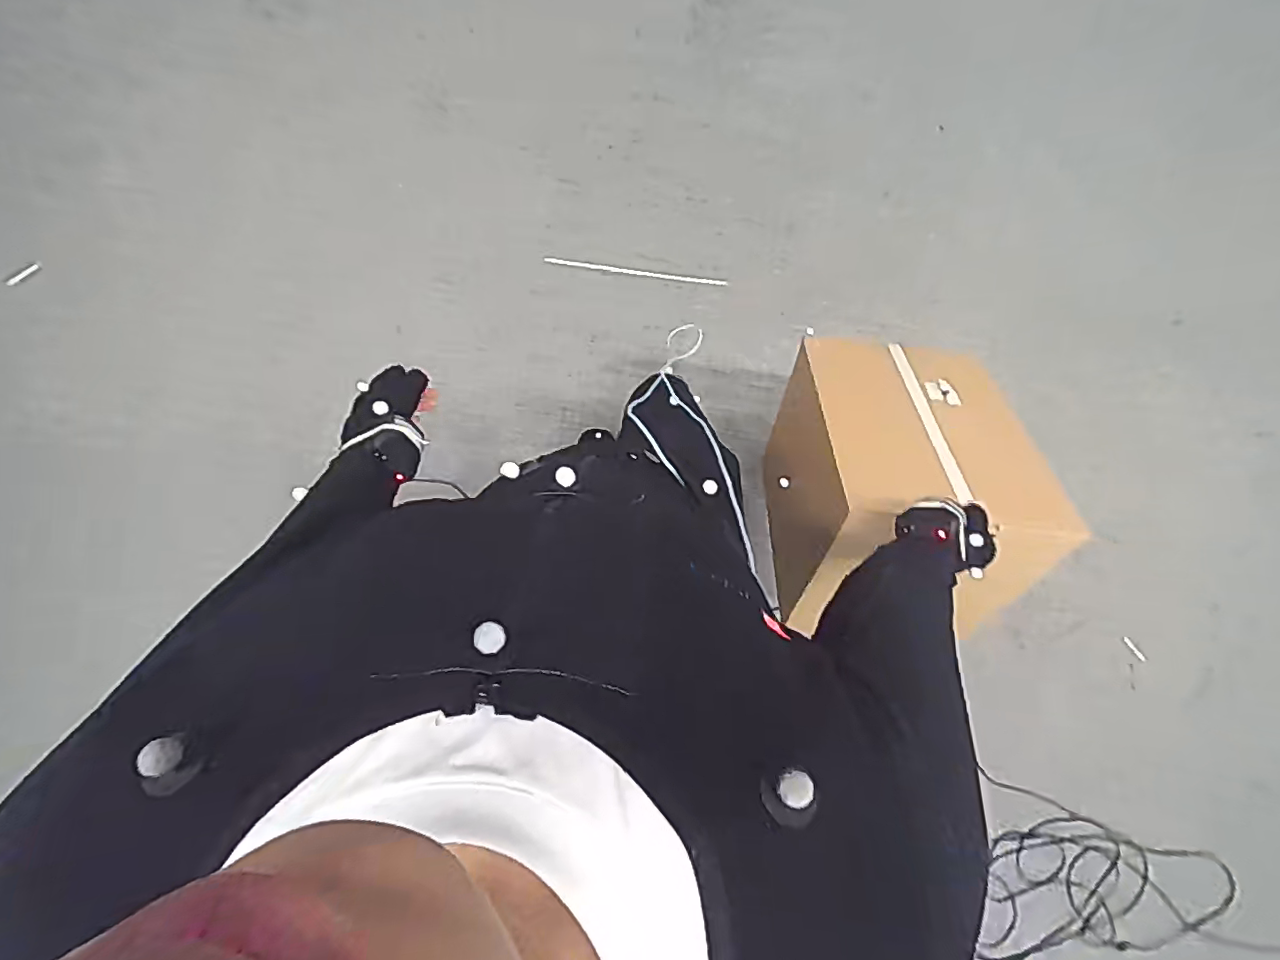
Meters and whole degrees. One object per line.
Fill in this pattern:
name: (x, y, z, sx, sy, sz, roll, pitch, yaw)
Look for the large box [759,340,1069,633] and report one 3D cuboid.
large box: (0.411, 0.008, 0.946, 0.320, 0.408, 0.320, 7, 136, -2)
